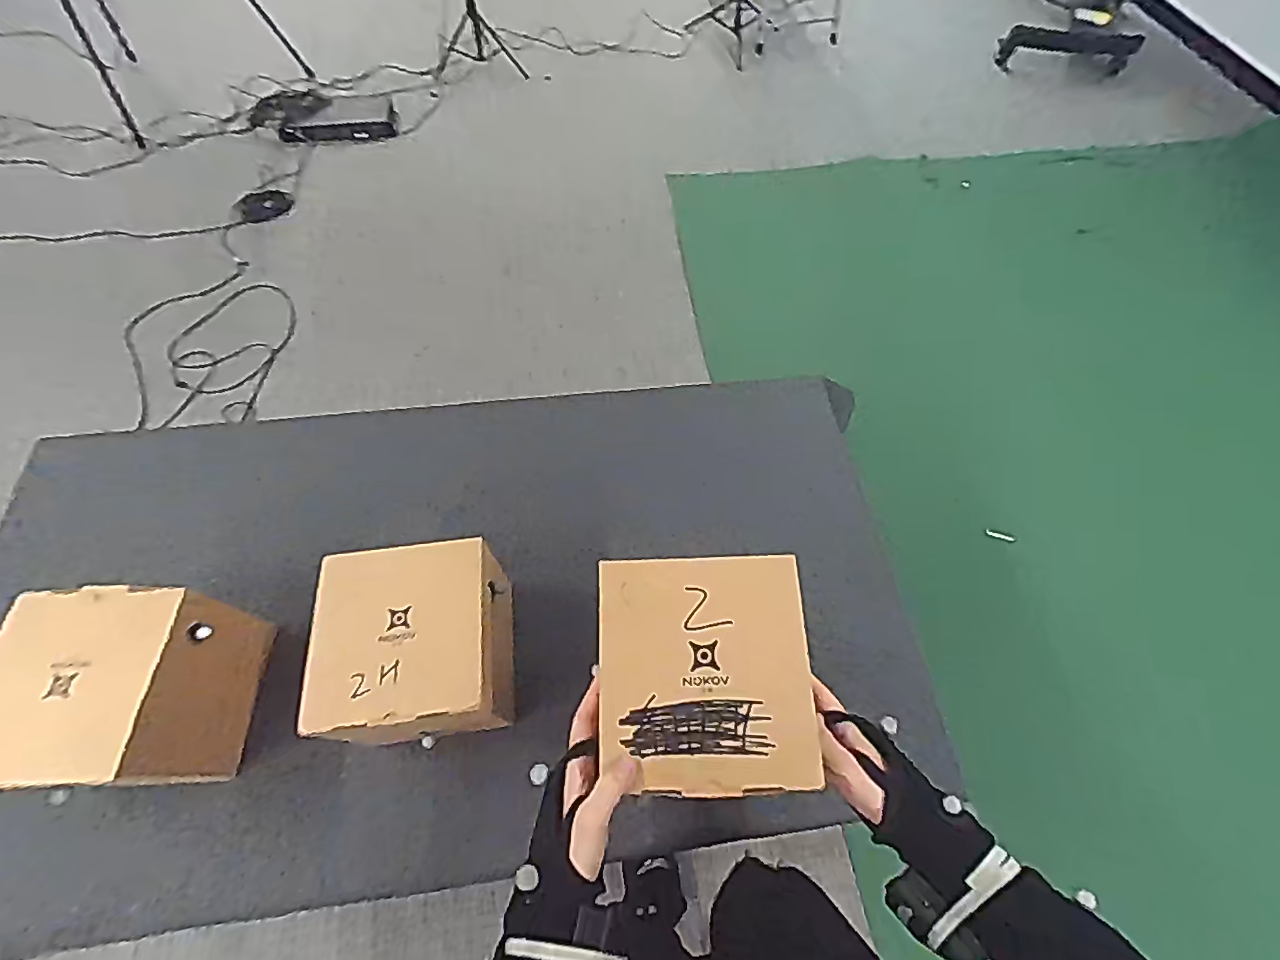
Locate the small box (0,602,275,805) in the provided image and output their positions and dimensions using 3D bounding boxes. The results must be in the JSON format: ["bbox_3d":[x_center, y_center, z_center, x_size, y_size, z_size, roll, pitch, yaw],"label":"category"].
[{"bbox_3d":[-0.534,0.241,0.576,0.168,0.176,0.179,-2,60,-2],"label":"small box"}]

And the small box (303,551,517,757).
[{"bbox_3d":[-0.236,0.199,0.604,0.168,0.176,0.179,-7,60,-4],"label":"small box"}]
